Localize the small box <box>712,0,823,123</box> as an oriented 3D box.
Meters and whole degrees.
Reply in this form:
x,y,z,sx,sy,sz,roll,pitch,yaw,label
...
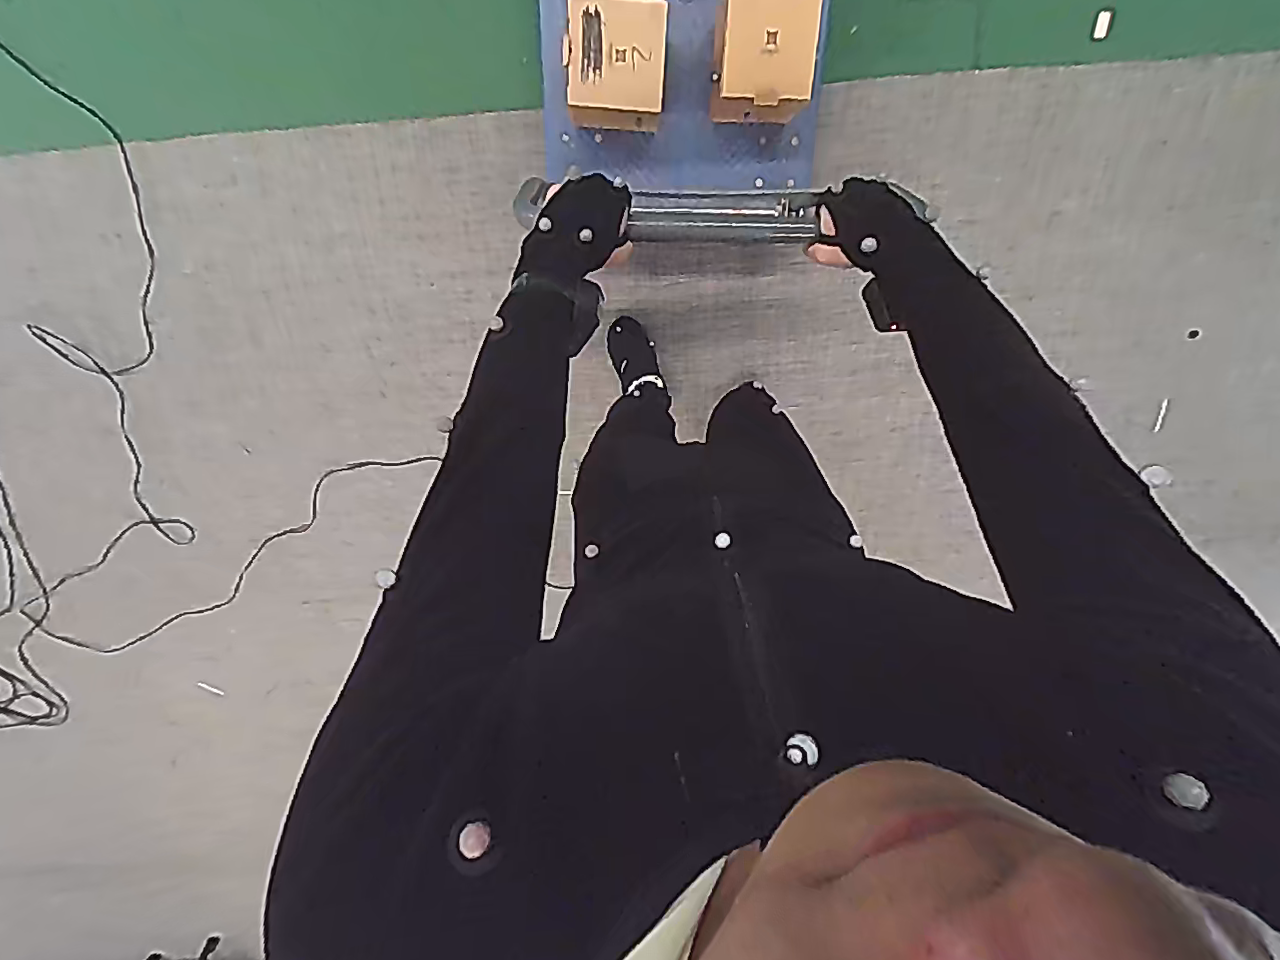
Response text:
x,y,z,sx,sy,sz,roll,pitch,yaw,label
0.233,-0.804,1.031,0.168,0.176,0.179,0,113,-1,small box
